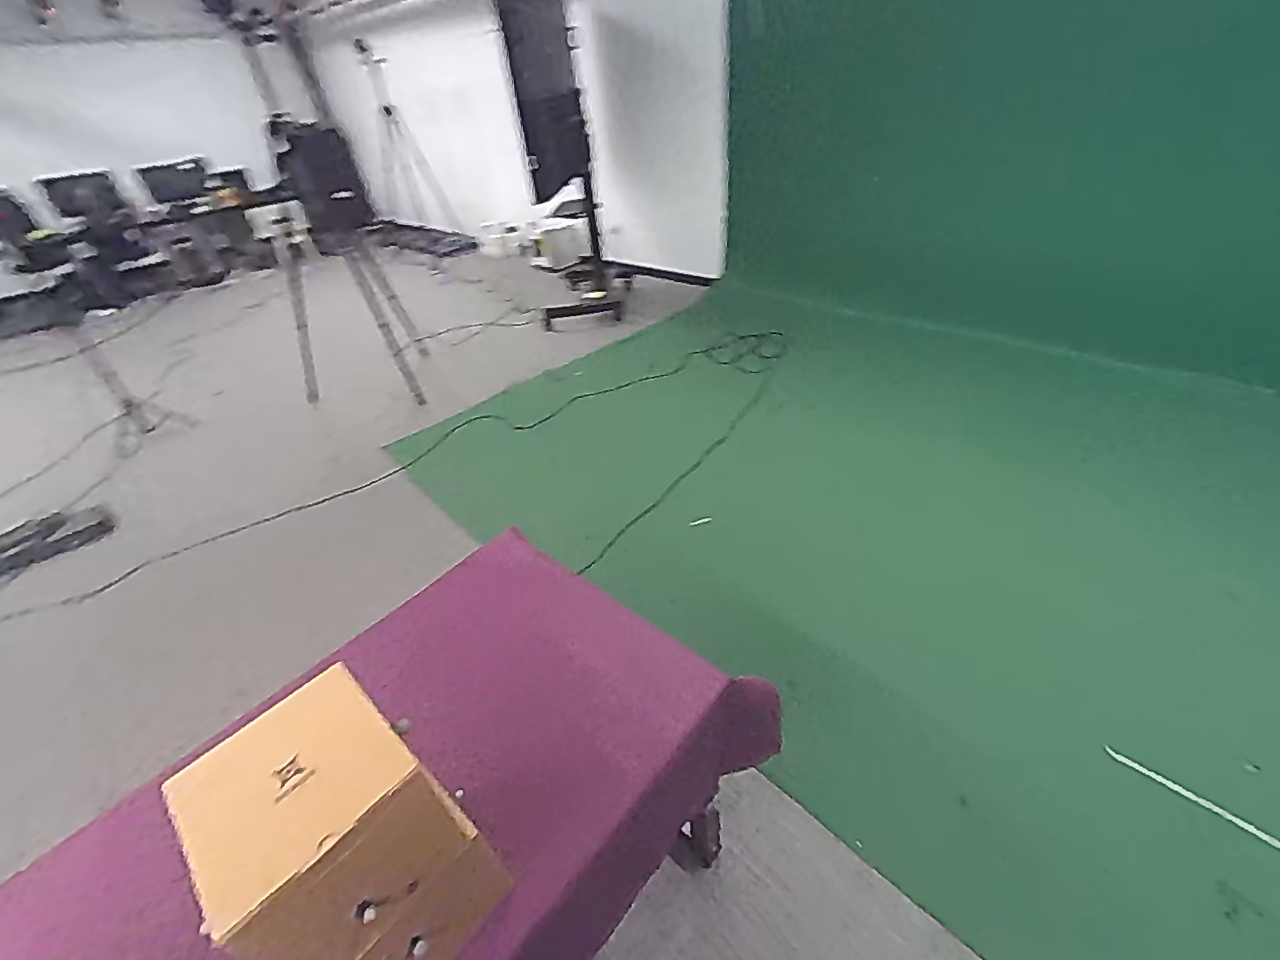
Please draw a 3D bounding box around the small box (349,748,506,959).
[{"bbox_3d":[-0.284,0.460,0.628,0.168,0.176,0.179,24,47,34],"label":"small box"}]

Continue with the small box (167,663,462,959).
[{"bbox_3d":[-0.307,0.328,0.534,0.179,0.176,0.168,25,47,35],"label":"small box"}]
